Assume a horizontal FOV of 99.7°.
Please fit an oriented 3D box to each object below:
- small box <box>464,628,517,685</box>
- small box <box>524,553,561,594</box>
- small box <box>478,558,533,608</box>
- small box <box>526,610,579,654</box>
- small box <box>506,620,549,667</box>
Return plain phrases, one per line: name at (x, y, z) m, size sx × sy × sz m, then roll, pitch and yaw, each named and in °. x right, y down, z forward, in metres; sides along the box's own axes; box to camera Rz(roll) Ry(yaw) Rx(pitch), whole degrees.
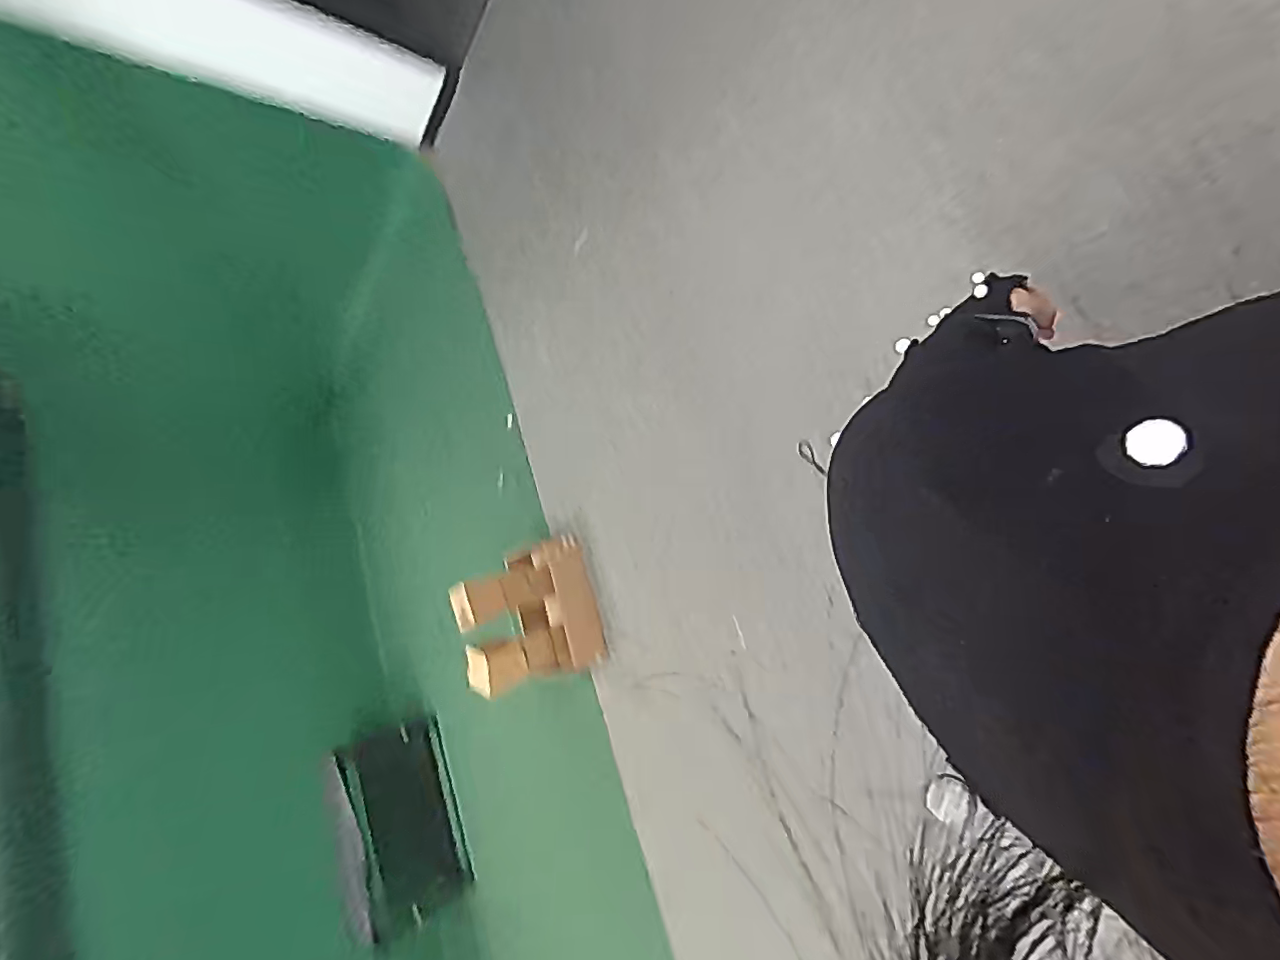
small box at (-0.641, 0.756, 2.336) m, size 0.179 × 0.176 × 0.168 m, roll 4°, pitch 98°, yaw 47°
small box at (-0.513, 0.461, 2.640) m, size 0.179 × 0.176 × 0.168 m, roll -21°, pitch 82°, yaw 45°
small box at (-0.627, 0.479, 2.525) m, size 0.179 × 0.176 × 0.168 m, roll -33°, pitch 74°, yaw 41°
small box at (-0.418, 0.730, 2.574) m, size 0.179 × 0.176 × 0.168 m, roll -29°, pitch 75°, yaw 44°
small box at (-0.528, 0.746, 2.453) m, size 0.179 × 0.176 × 0.168 m, roll -28°, pitch 75°, yaw 45°
